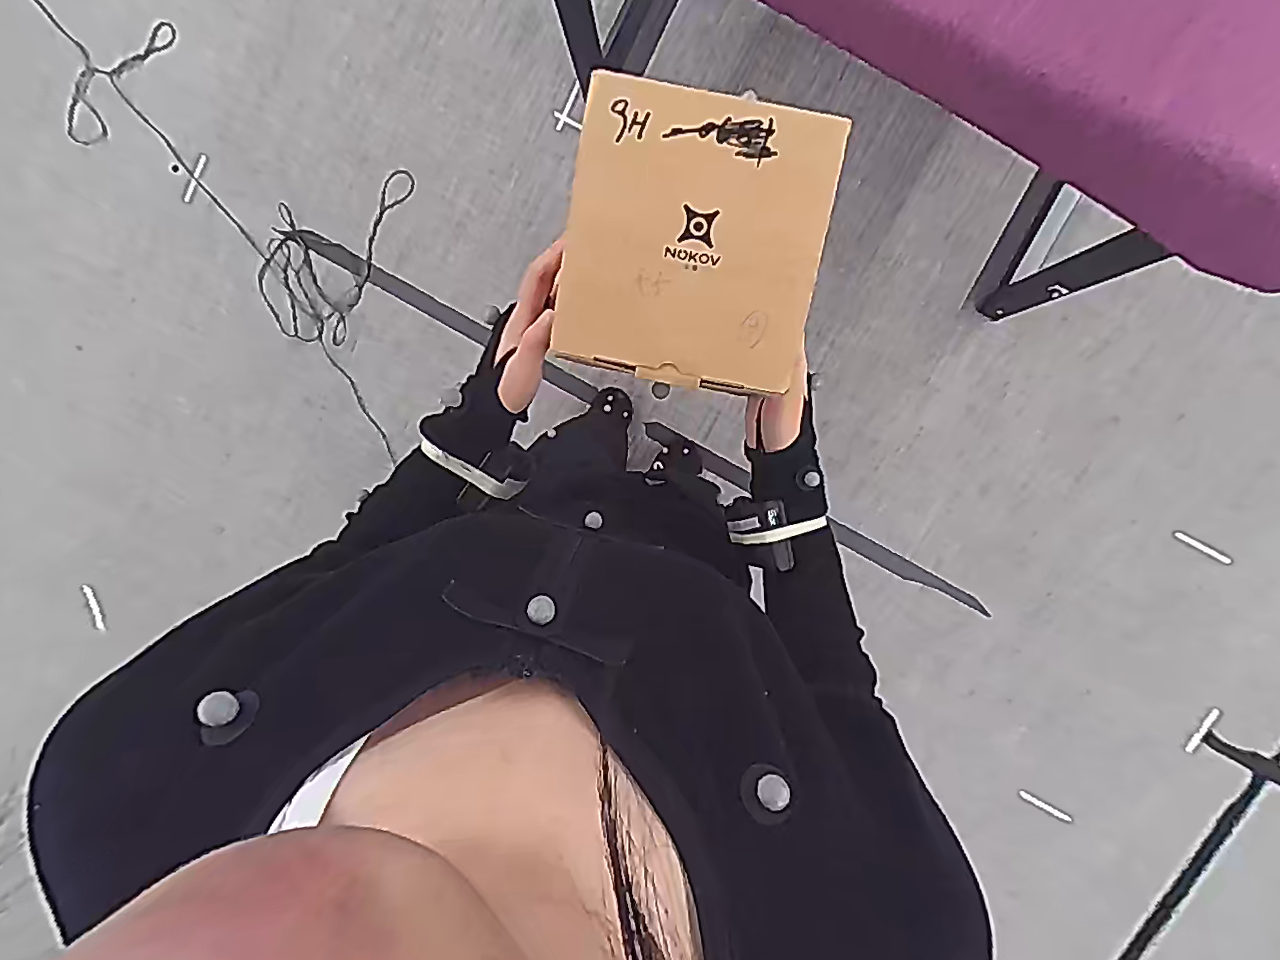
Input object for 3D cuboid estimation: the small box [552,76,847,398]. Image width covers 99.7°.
[{"bbox_3d":[0.037,-0.169,0.433,0.168,0.176,0.179,11,100,-1],"label":"small box"}]
